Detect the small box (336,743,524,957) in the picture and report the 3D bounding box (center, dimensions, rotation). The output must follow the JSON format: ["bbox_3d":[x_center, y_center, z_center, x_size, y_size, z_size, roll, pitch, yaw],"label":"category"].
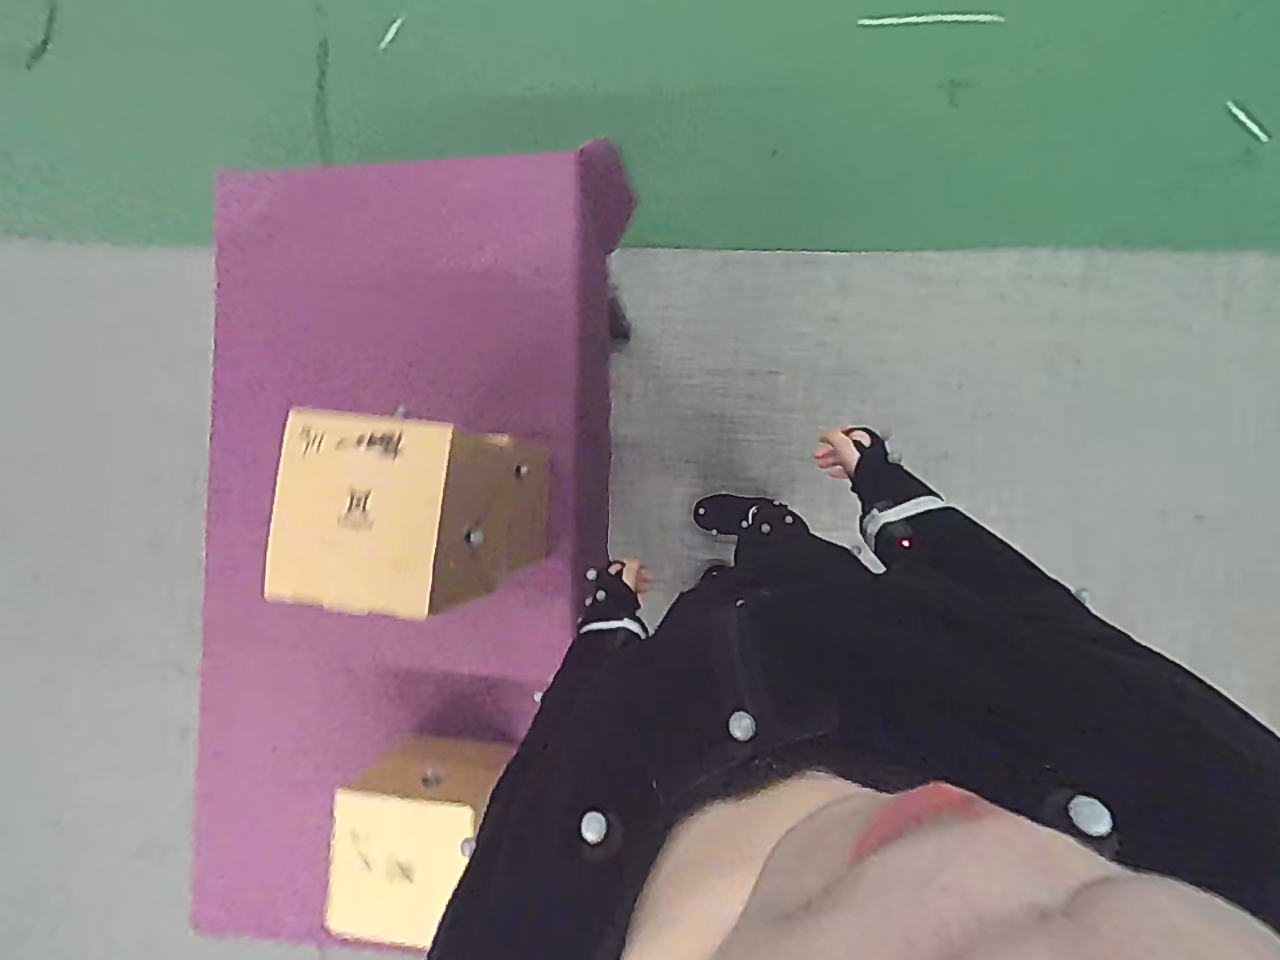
[{"bbox_3d":[-0.263,0.469,0.715,0.179,0.176,0.168,2,87,8],"label":"small box"}]

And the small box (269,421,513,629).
[{"bbox_3d":[-0.245,0.041,0.570,0.168,0.176,0.179,5,88,8],"label":"small box"}]
